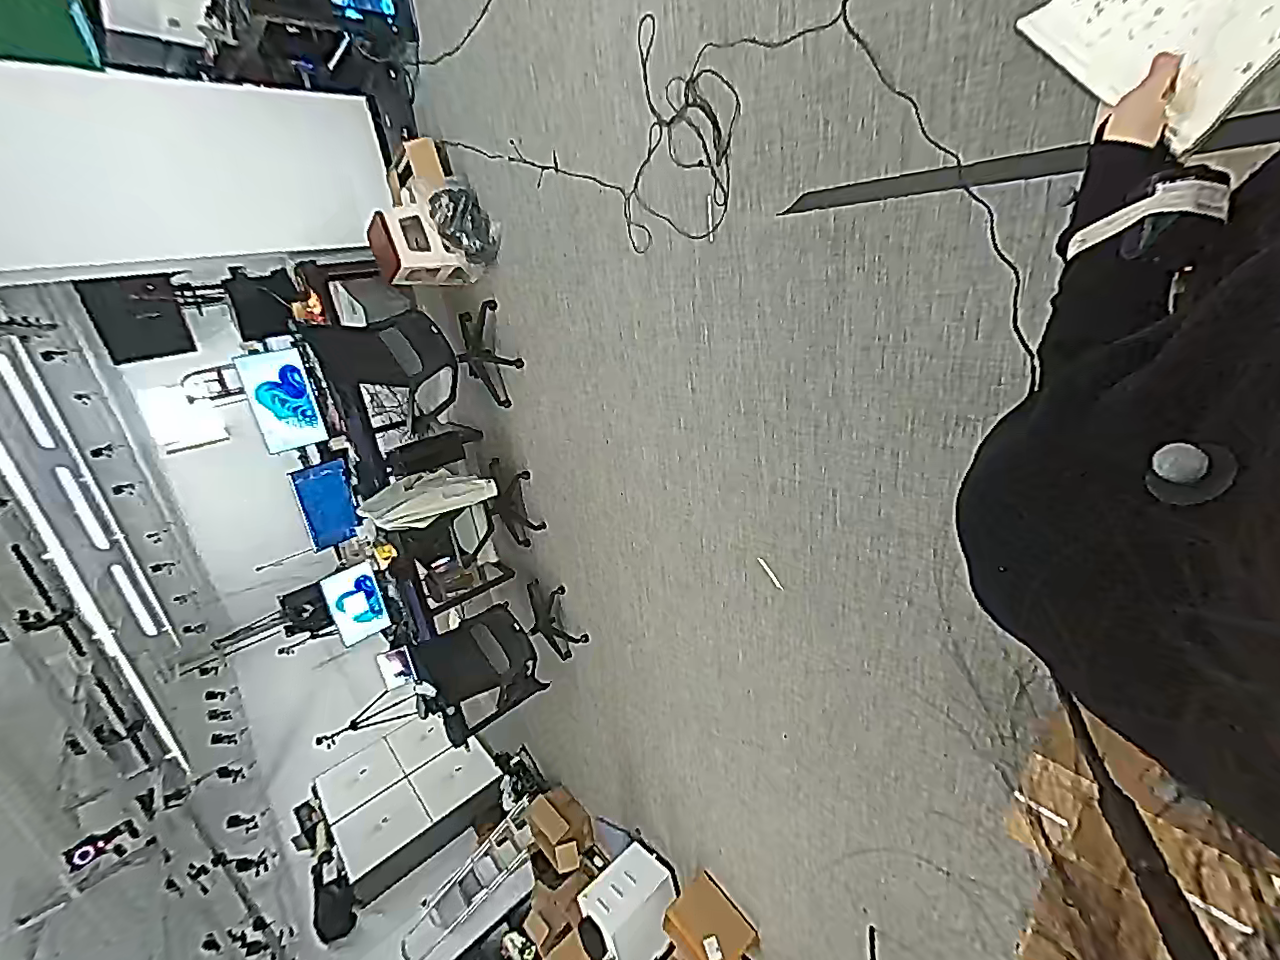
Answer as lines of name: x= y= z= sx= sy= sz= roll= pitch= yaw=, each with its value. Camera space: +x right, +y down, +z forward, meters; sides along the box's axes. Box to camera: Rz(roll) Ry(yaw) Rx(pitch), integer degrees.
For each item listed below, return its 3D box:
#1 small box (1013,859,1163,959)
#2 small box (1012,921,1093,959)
small box: x=0.872 y=0.892 z=1.058 sx=0.179 sy=0.176 sz=0.168 roll=21 pitch=127 yaw=43
small box: x=0.753 y=0.961 z=0.967 sx=0.168 sy=0.176 sz=0.179 roll=24 pitch=129 yaw=43
